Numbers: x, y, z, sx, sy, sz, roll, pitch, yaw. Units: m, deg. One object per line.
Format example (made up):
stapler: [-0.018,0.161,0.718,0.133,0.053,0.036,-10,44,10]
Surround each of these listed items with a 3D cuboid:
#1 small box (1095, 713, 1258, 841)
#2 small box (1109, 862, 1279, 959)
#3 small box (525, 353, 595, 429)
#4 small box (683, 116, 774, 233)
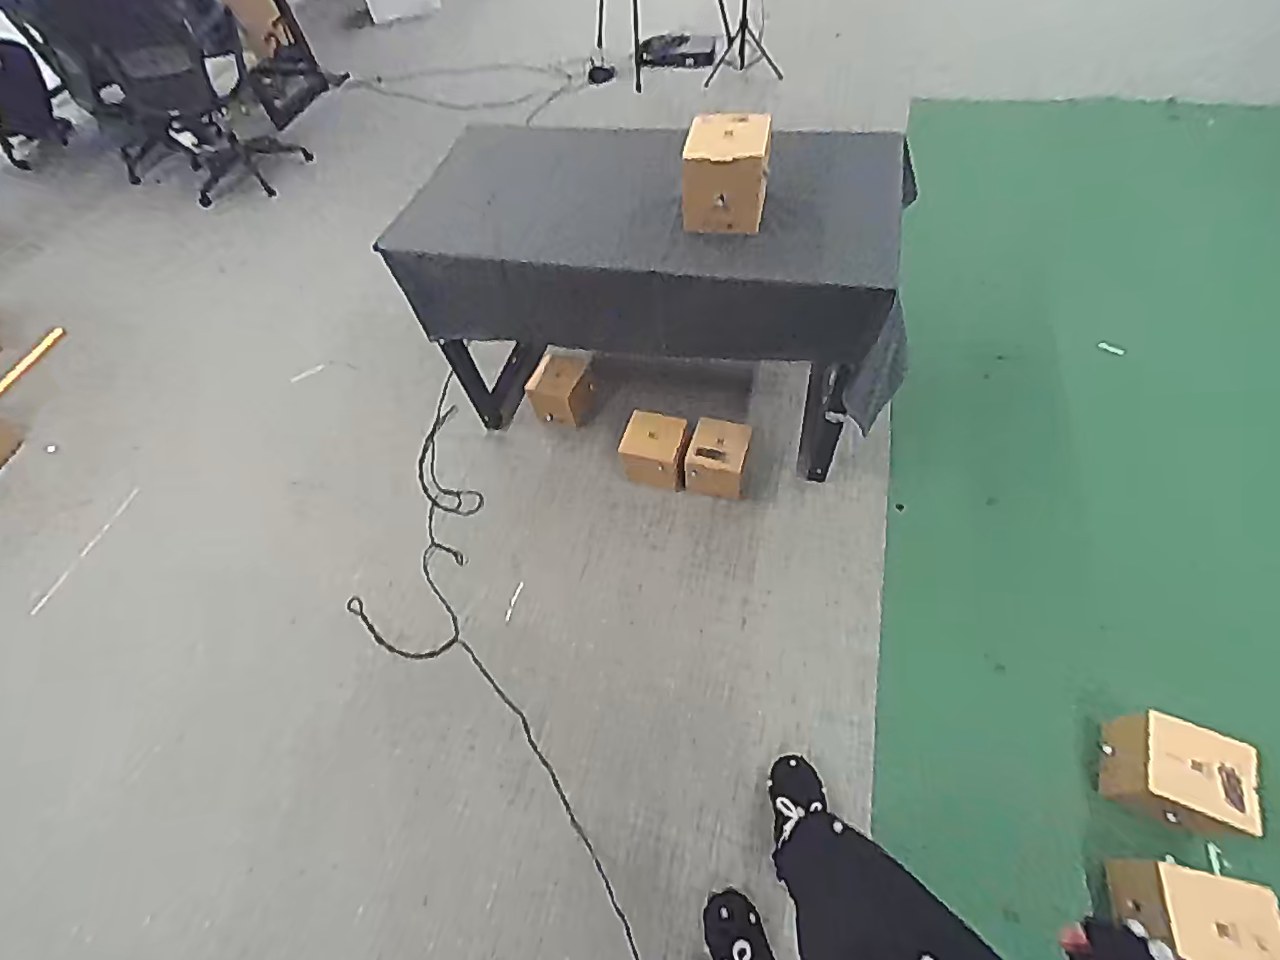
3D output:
small box: [1.092,0.610,1.113,0.179,0.176,0.168,19,60,20]
small box: [1.005,0.817,0.985,0.179,0.176,0.168,9,59,12]
small box: [-0.268,-0.308,1.875,0.168,0.176,0.179,17,60,18]
small box: [0.194,-0.663,1.181,0.168,0.176,0.179,8,59,12]
